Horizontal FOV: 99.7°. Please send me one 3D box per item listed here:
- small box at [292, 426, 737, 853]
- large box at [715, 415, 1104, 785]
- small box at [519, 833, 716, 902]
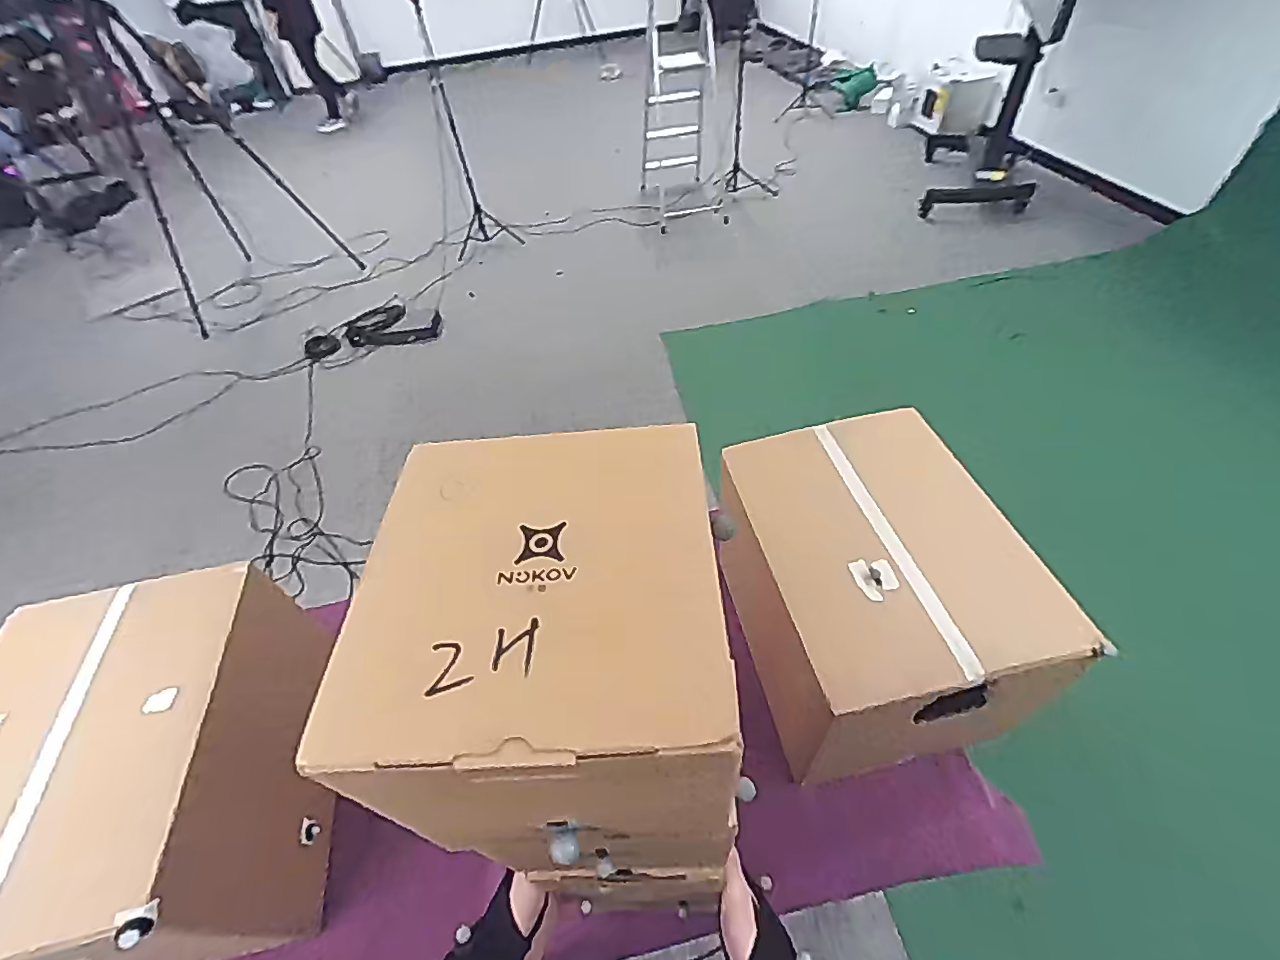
[{"bbox_3d":[-0.042,0.092,0.307,0.168,0.176,0.179,-4,48,3],"label":"small box"},{"bbox_3d":[0.319,0.169,0.805,0.320,0.320,0.408,-13,49,-3],"label":"large box"},{"bbox_3d":[-0.011,0.313,0.549,0.168,0.176,0.179,-2,47,3],"label":"small box"}]
